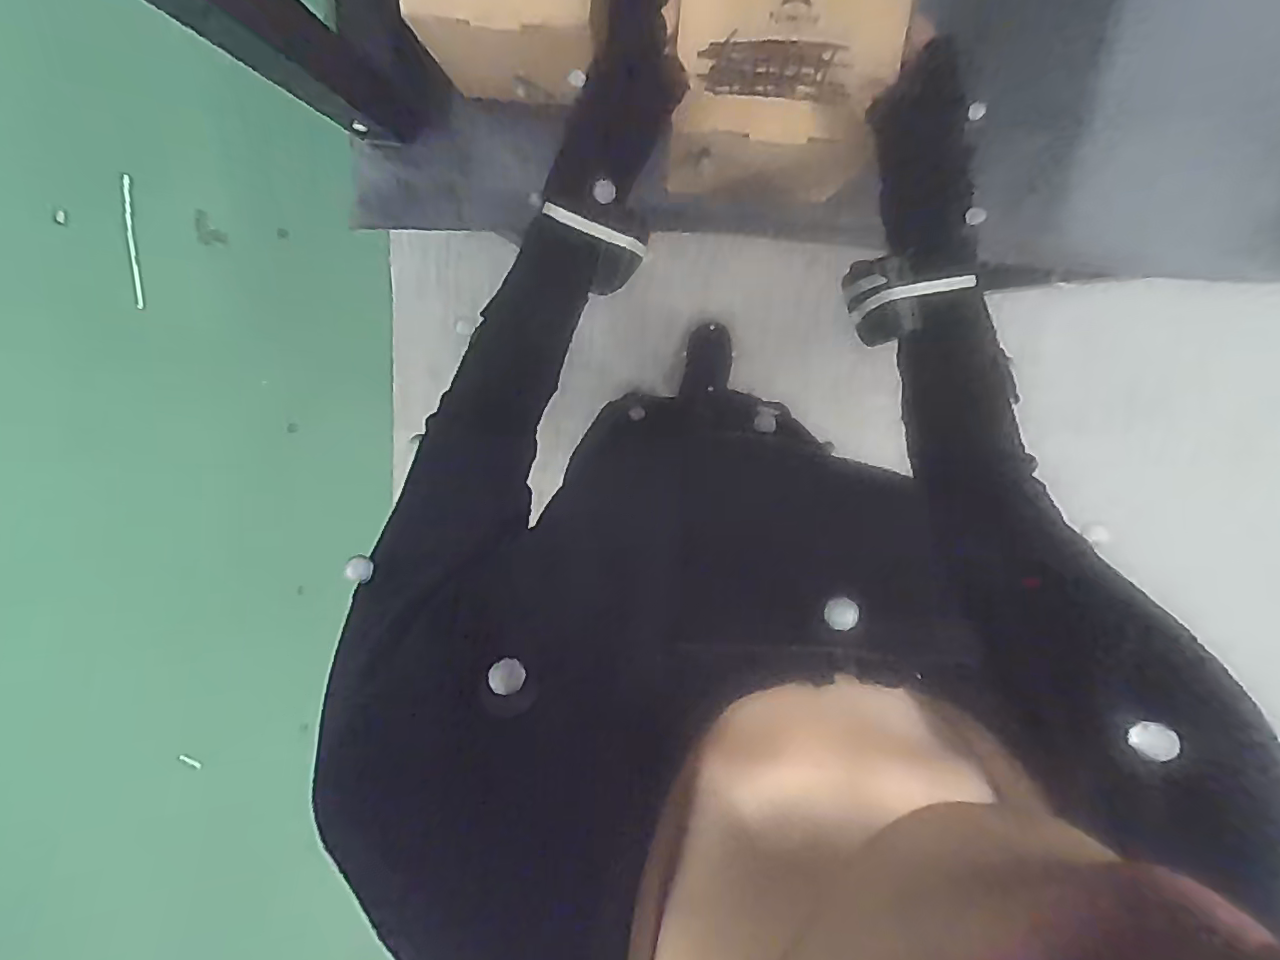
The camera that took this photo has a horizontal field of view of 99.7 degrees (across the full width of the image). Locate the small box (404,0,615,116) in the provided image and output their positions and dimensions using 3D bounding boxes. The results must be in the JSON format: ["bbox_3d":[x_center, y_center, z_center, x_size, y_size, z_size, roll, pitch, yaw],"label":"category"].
[{"bbox_3d":[-0.114,-0.491,0.525,0.168,0.176,0.179,5,105,0],"label":"small box"}]
